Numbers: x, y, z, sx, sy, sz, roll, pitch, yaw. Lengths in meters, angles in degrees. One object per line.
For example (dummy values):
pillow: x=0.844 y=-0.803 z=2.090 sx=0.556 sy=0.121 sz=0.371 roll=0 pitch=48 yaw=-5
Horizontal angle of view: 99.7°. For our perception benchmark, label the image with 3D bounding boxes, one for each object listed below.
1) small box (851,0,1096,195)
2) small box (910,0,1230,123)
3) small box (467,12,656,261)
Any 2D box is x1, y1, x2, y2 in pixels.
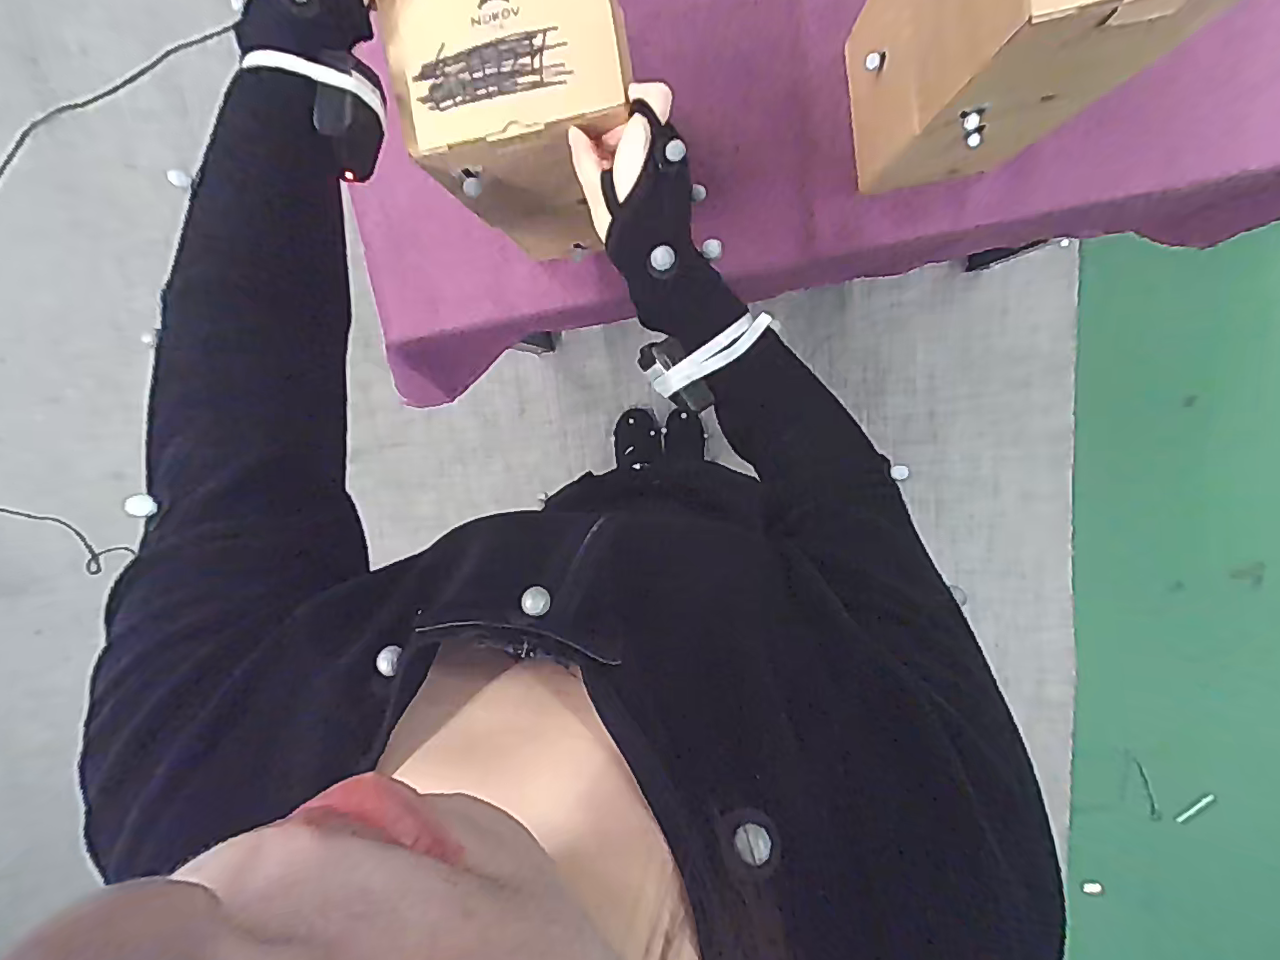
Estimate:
small box: x=0.337 y=-0.438 z=0.578 sx=0.168 sy=0.176 sz=0.179 roll=-8 pitch=99 yaw=7
small box: x=0.326 y=-0.409 z=0.416 sx=0.168 sy=0.176 sz=0.179 roll=-9 pitch=99 yaw=6
small box: x=-0.076 y=-0.372 z=0.621 sx=0.168 sy=0.176 sz=0.179 roll=-8 pitch=99 yaw=6
